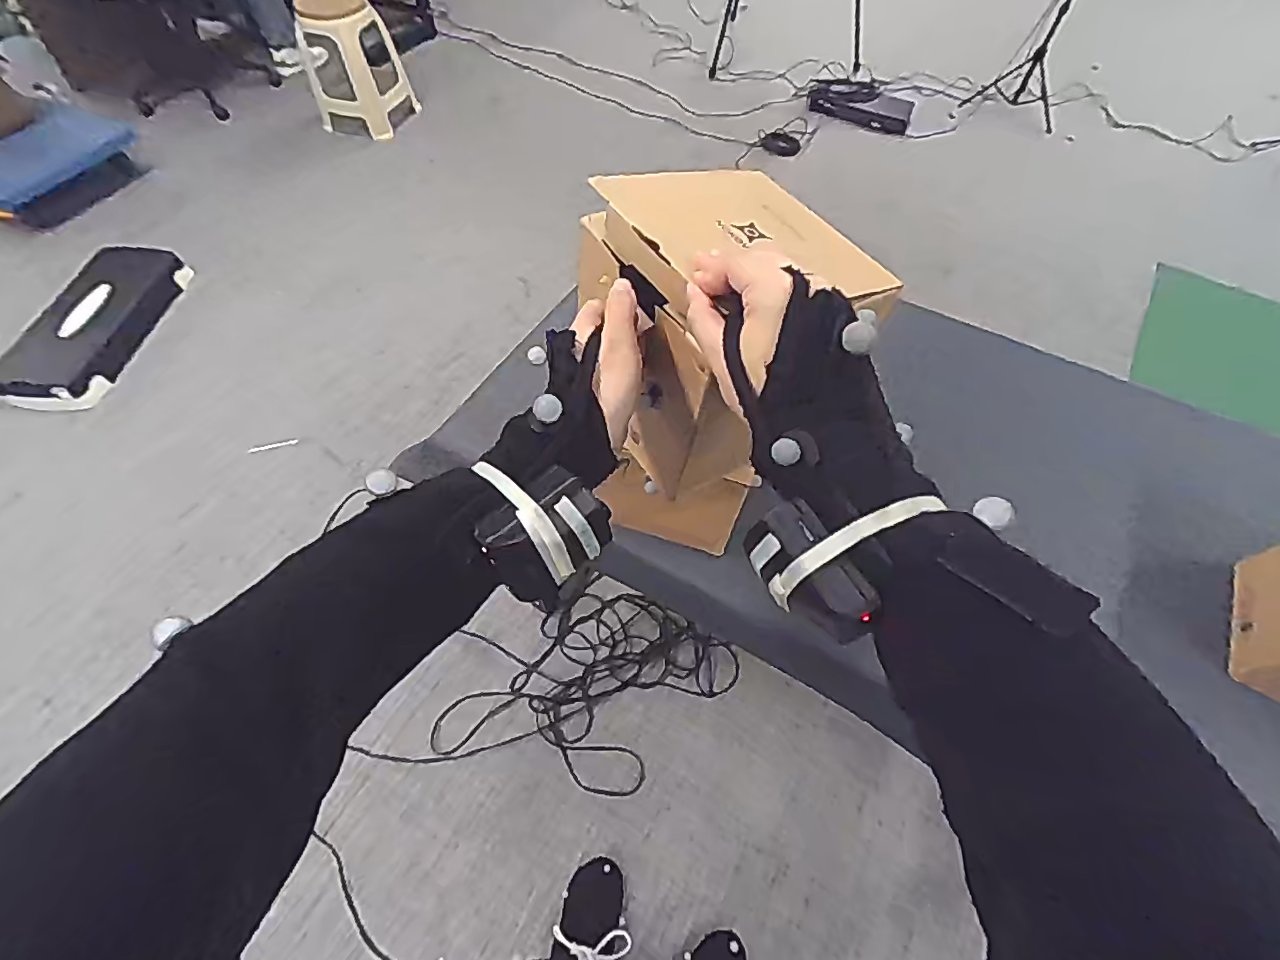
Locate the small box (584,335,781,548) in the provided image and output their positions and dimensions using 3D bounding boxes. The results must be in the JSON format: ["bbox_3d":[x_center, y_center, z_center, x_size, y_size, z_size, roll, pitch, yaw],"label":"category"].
[{"bbox_3d":[0.049,-0.038,0.643,0.179,0.176,0.168,17,58,9],"label":"small box"}]
